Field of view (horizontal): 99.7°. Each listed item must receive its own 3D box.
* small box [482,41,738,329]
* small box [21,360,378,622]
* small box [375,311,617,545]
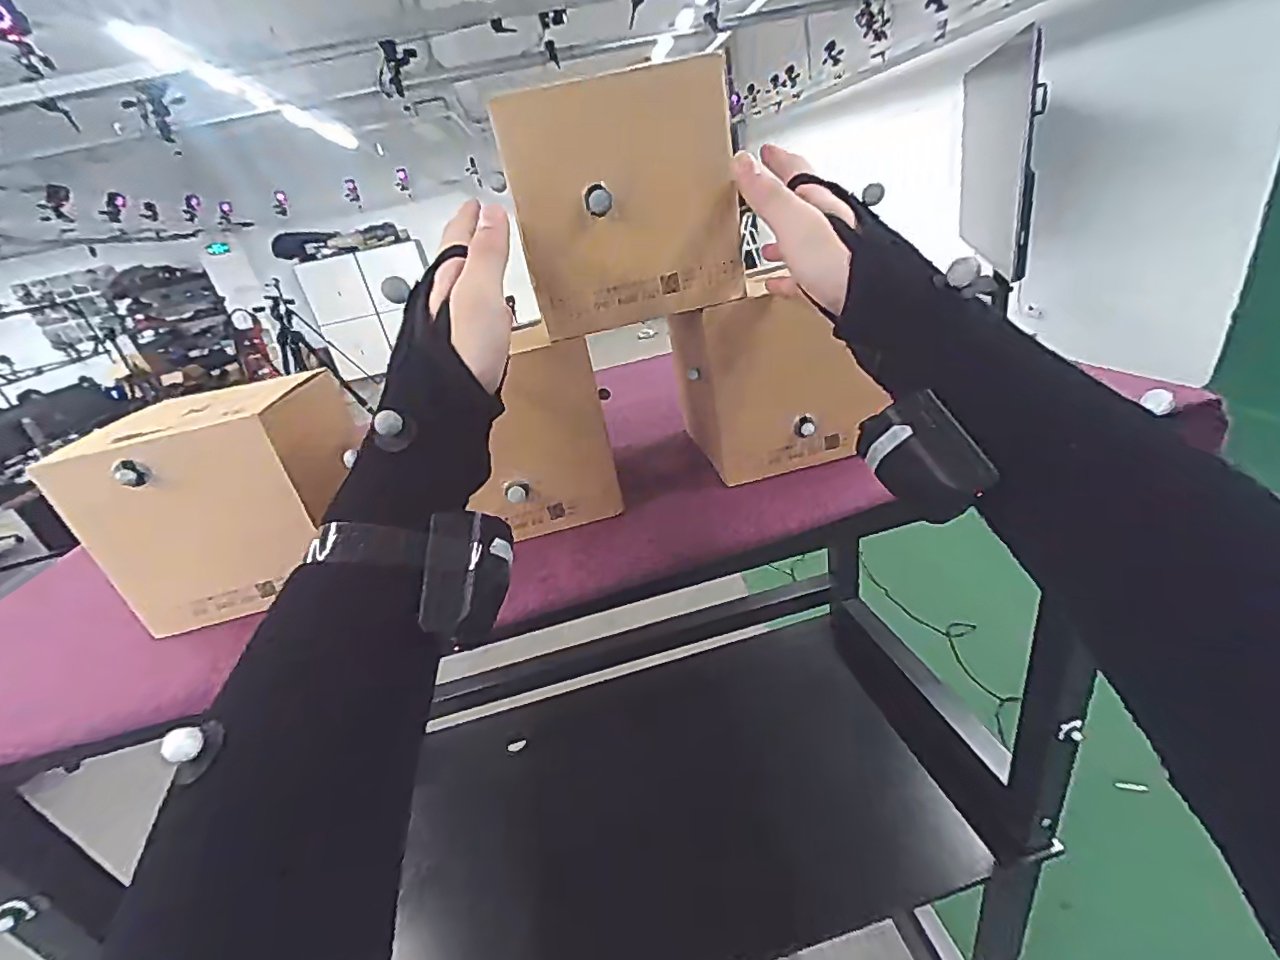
[{"bbox_3d":[-0.023,-0.237,0.470,0.168,0.176,0.179,-14,25,-4],"label":"small box"},{"bbox_3d":[-0.370,0.001,0.505,0.168,0.176,0.179,-15,25,-5],"label":"small box"},{"bbox_3d":[-0.126,-0.061,0.531,0.168,0.176,0.179,-14,27,-5],"label":"small box"}]
